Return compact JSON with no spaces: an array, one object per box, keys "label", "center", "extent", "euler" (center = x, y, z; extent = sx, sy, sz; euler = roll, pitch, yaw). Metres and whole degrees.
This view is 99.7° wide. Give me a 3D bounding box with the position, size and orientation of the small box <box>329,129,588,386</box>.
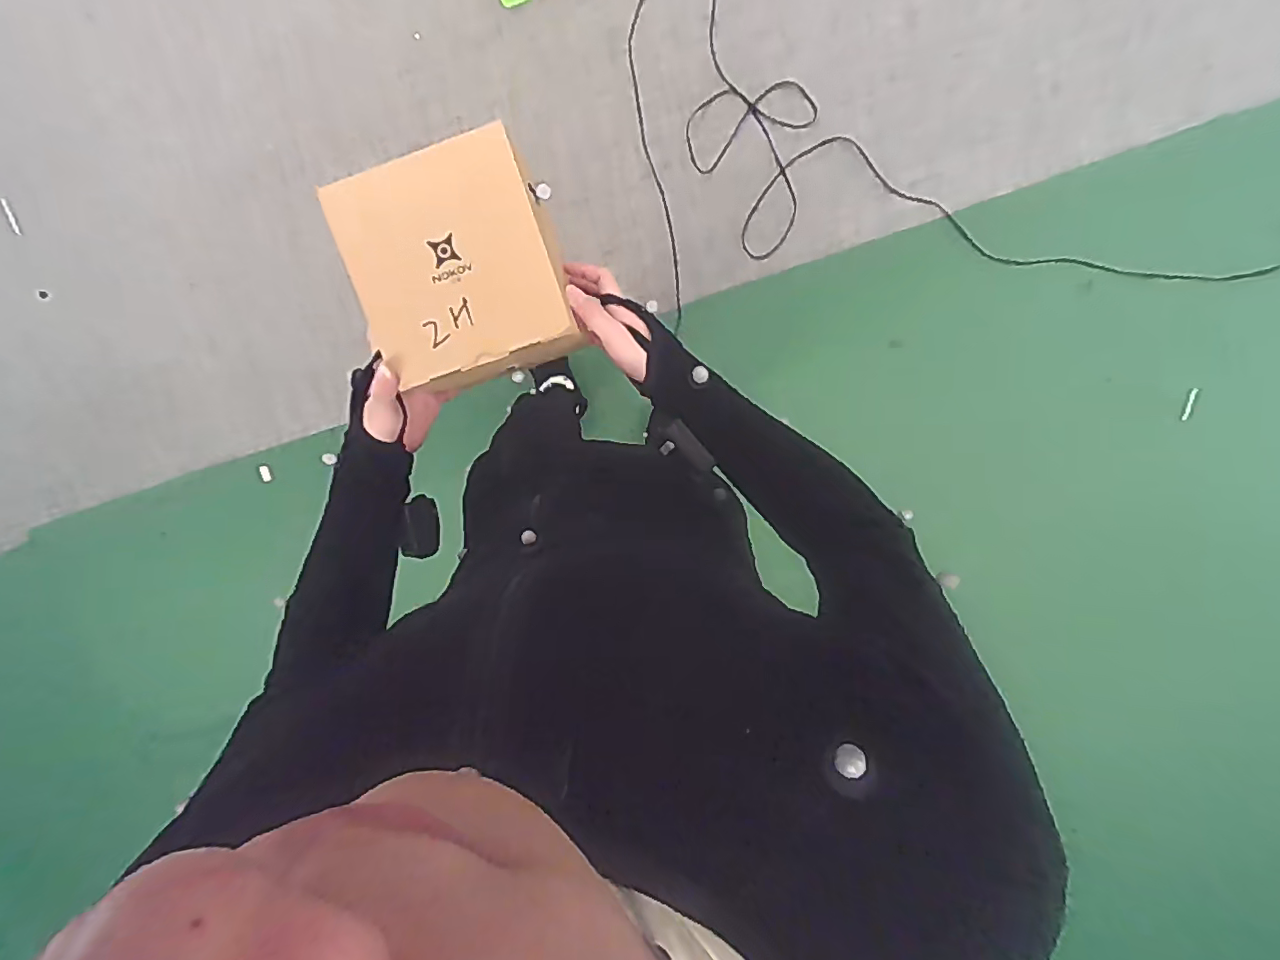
[{"label":"small box","center":[-0.159,-0.199,0.539],"extent":[0.168,0.176,0.179],"euler":[-17,100,4]}]
